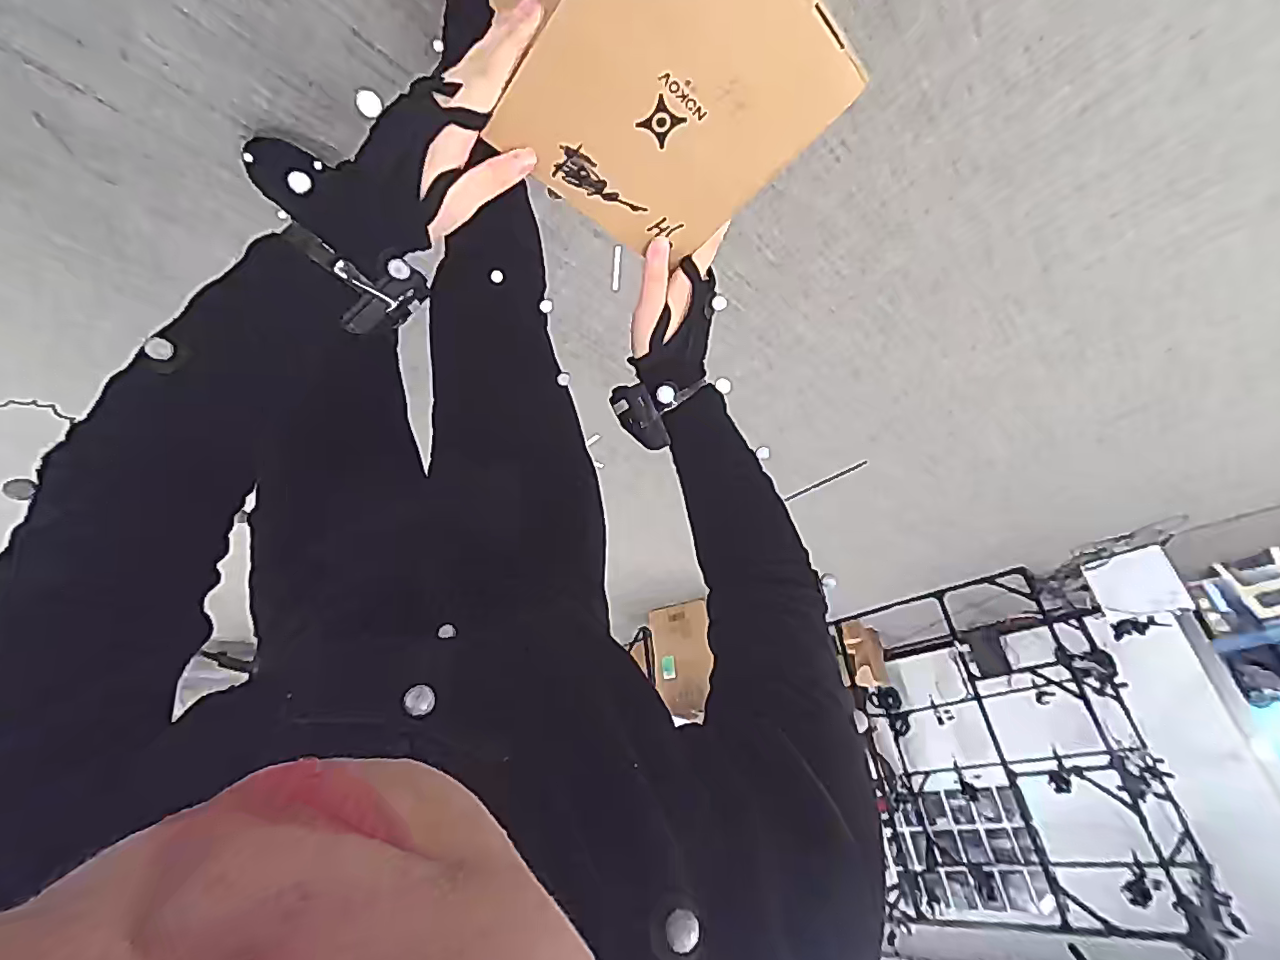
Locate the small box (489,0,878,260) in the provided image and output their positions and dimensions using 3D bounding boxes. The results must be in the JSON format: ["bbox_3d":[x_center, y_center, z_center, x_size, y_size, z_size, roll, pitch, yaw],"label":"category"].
[{"bbox_3d":[0.017,-0.297,0.357,0.168,0.176,0.179,21,141,-38],"label":"small box"}]
